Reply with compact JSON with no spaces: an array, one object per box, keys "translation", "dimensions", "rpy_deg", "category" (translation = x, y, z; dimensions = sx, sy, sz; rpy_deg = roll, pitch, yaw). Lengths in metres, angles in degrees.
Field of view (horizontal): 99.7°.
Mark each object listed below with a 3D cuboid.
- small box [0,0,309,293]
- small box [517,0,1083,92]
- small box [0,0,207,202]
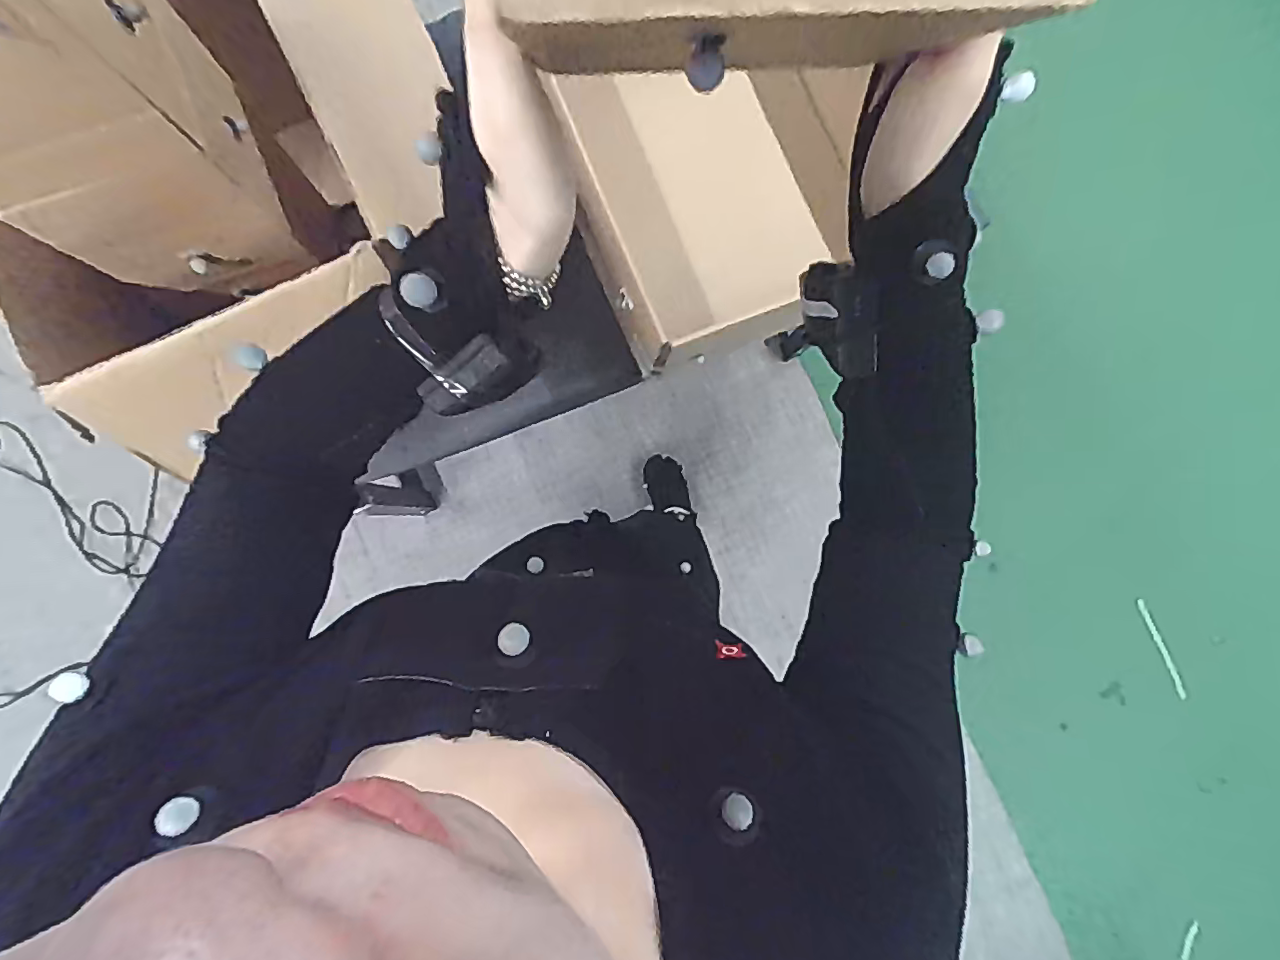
[{"translation":[-0.461,-0.311,0.515],"dimensions":[0.168,0.176,0.179],"rpy_deg":[-21,90,-6],"category":"small box"},{"translation":[0.045,-0.247,0.194],"dimensions":[0.179,0.176,0.168],"rpy_deg":[-3,123,-2],"category":"small box"},{"translation":[-0.448,-0.317,0.354],"dimensions":[0.179,0.176,0.168],"rpy_deg":[-20,88,-6],"category":"small box"}]
